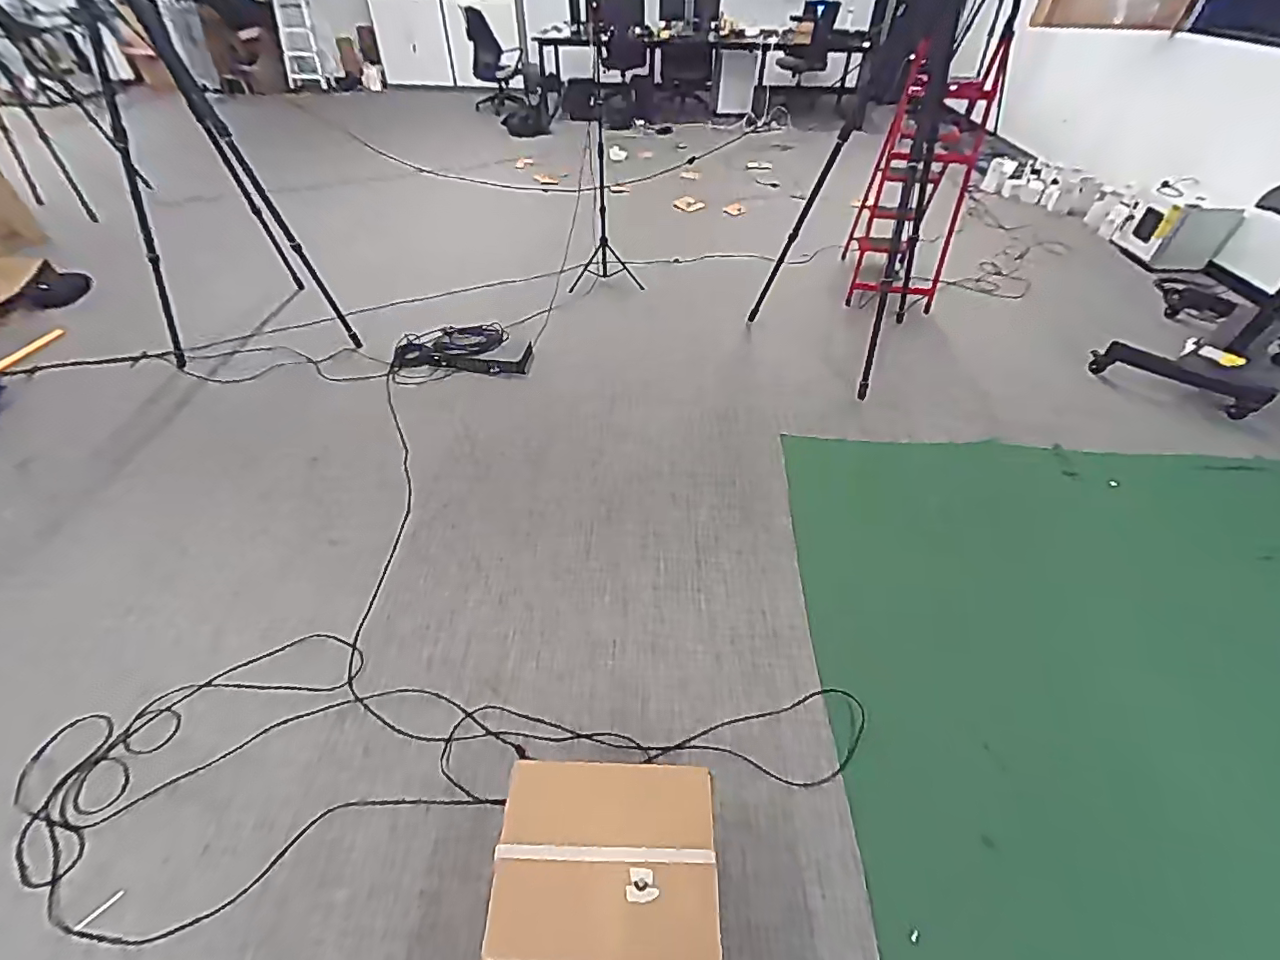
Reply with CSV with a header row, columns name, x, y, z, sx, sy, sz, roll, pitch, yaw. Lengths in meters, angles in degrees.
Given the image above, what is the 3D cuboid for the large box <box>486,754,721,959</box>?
name,x,y,z,sx,sy,sz,roll,pitch,yaw
large box,-0.063,0.781,1.113,0.408,0.320,0.320,2,47,0
